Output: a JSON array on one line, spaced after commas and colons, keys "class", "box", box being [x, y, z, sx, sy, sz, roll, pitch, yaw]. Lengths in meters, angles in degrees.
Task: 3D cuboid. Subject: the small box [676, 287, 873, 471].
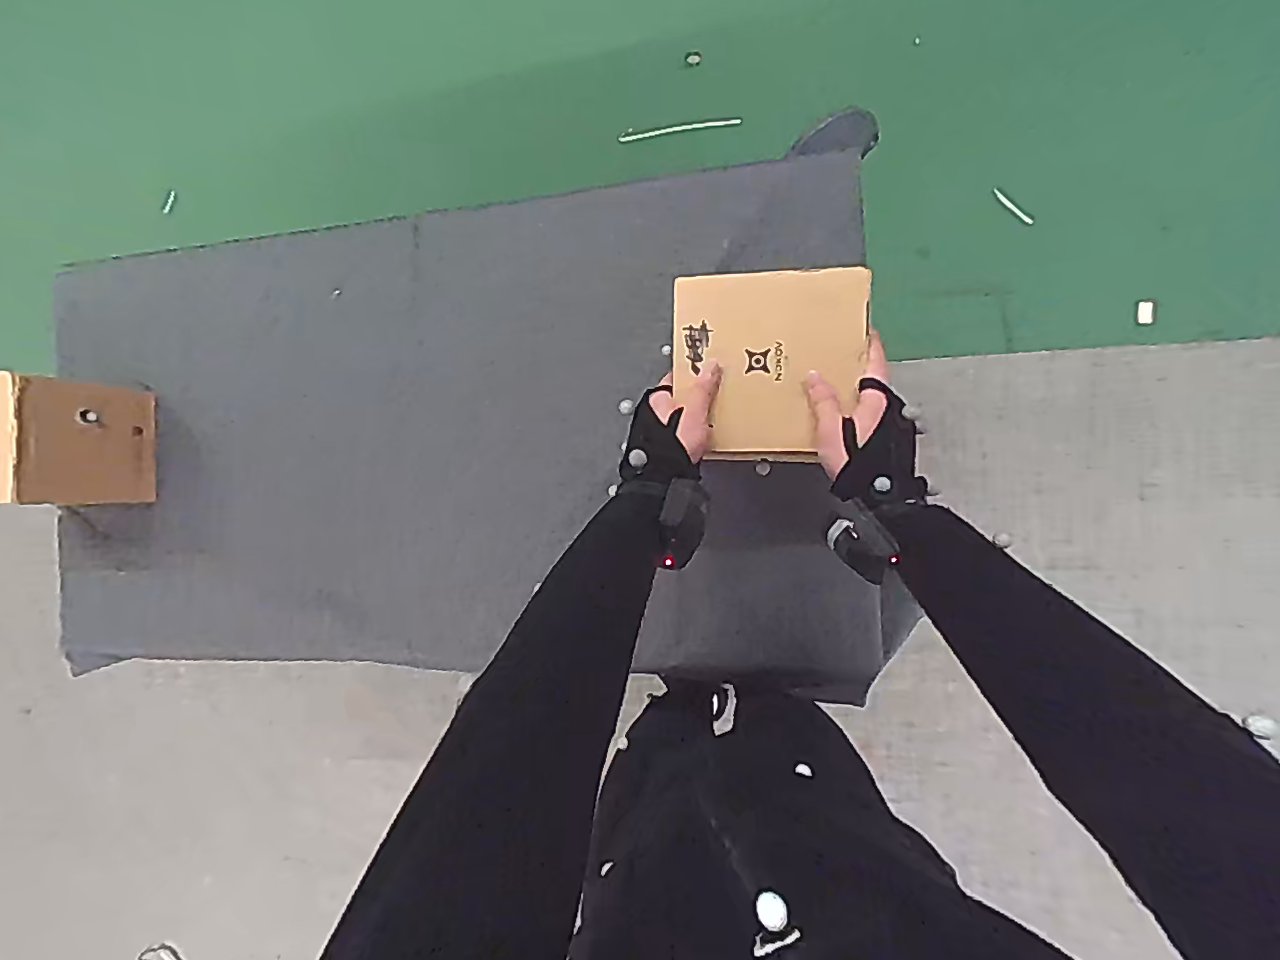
[{"class": "small box", "box": [0.135, -0.095, 0.578, 0.179, 0.176, 0.168, 1, 90, 11]}]

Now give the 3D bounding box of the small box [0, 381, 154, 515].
[{"class": "small box", "box": [-0.825, -0.038, 0.746, 0.179, 0.176, 0.168, 1, 87, 10]}]
